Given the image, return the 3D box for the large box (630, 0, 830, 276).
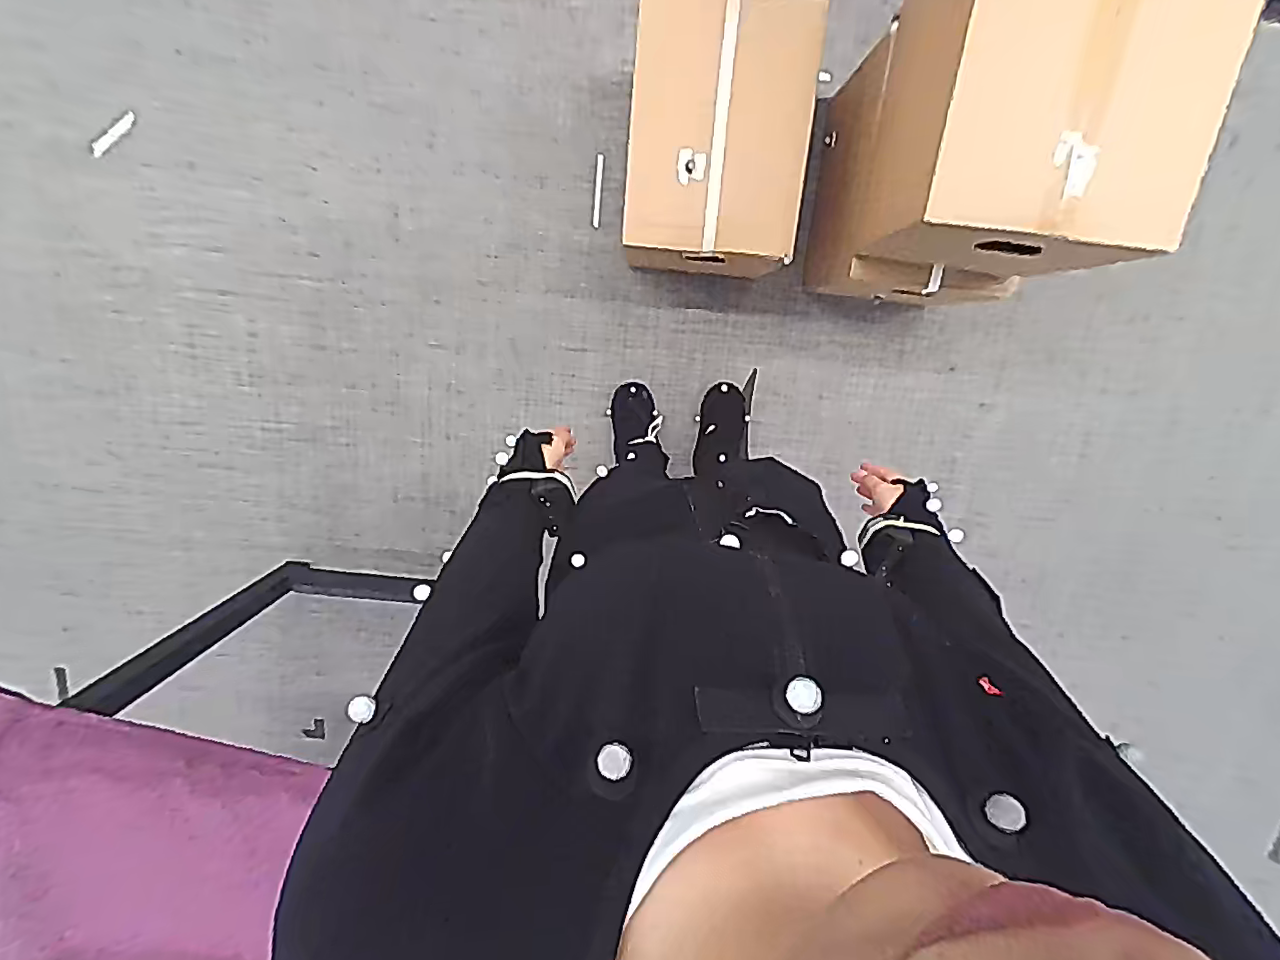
[{"bbox_3d":[0.147,-0.638,1.066,0.320,0.320,0.408,4,105,0],"label":"large box"}]
